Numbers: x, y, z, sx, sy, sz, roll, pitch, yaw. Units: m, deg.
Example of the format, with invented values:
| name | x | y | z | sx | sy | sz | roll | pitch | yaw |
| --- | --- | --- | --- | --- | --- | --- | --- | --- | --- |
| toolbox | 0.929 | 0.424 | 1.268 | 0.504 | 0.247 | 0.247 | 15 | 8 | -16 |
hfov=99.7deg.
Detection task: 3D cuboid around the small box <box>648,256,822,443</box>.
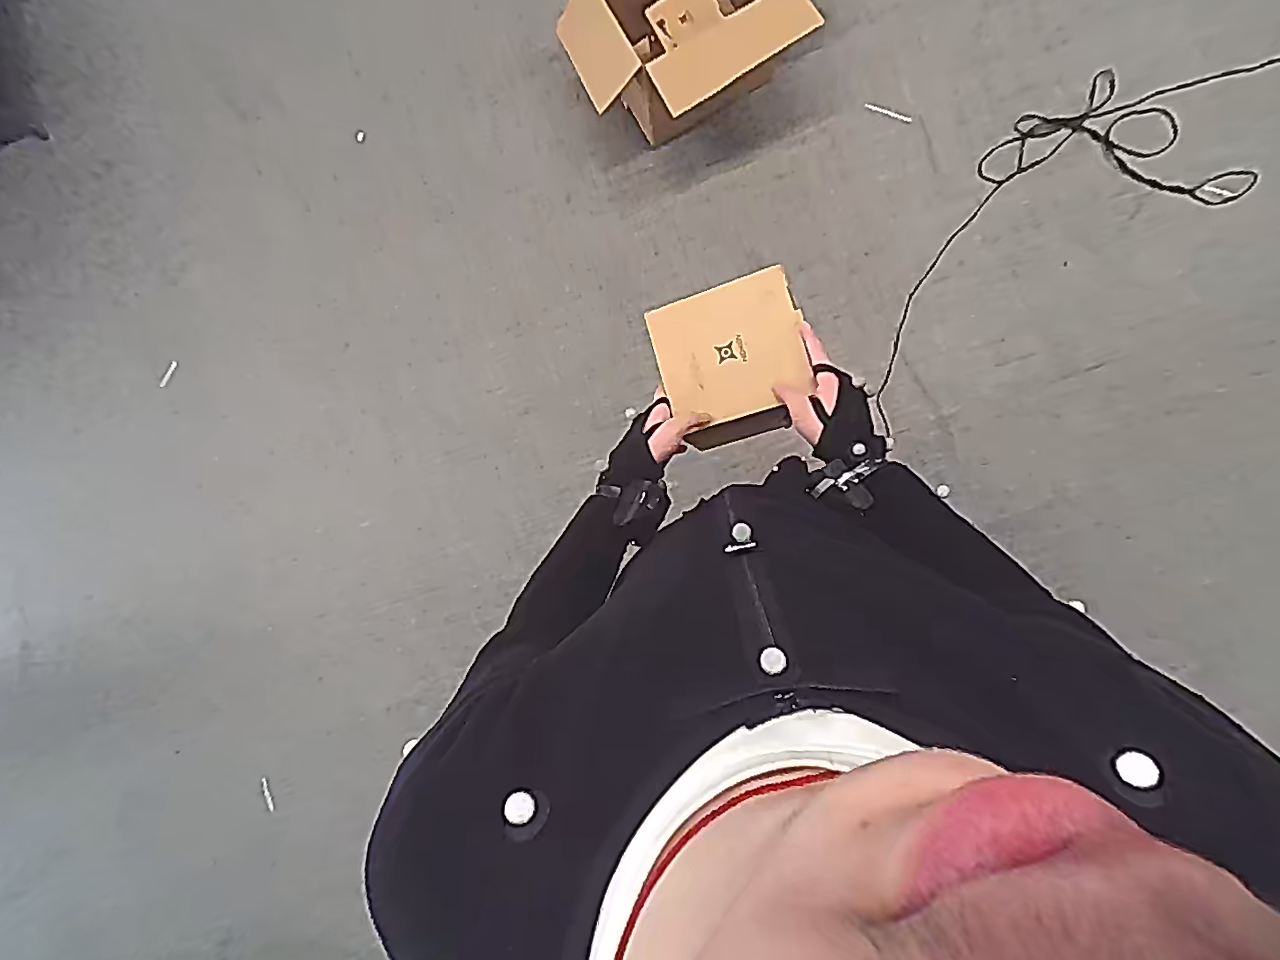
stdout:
| name | x | y | z | sx | sy | sz | roll | pitch | yaw |
| --- | --- | --- | --- | --- | --- | --- | --- | --- | --- |
| small box | 0.127 | -0.156 | 0.708 | 0.179 | 0.176 | 0.168 | -14 | 81 | 15 |
